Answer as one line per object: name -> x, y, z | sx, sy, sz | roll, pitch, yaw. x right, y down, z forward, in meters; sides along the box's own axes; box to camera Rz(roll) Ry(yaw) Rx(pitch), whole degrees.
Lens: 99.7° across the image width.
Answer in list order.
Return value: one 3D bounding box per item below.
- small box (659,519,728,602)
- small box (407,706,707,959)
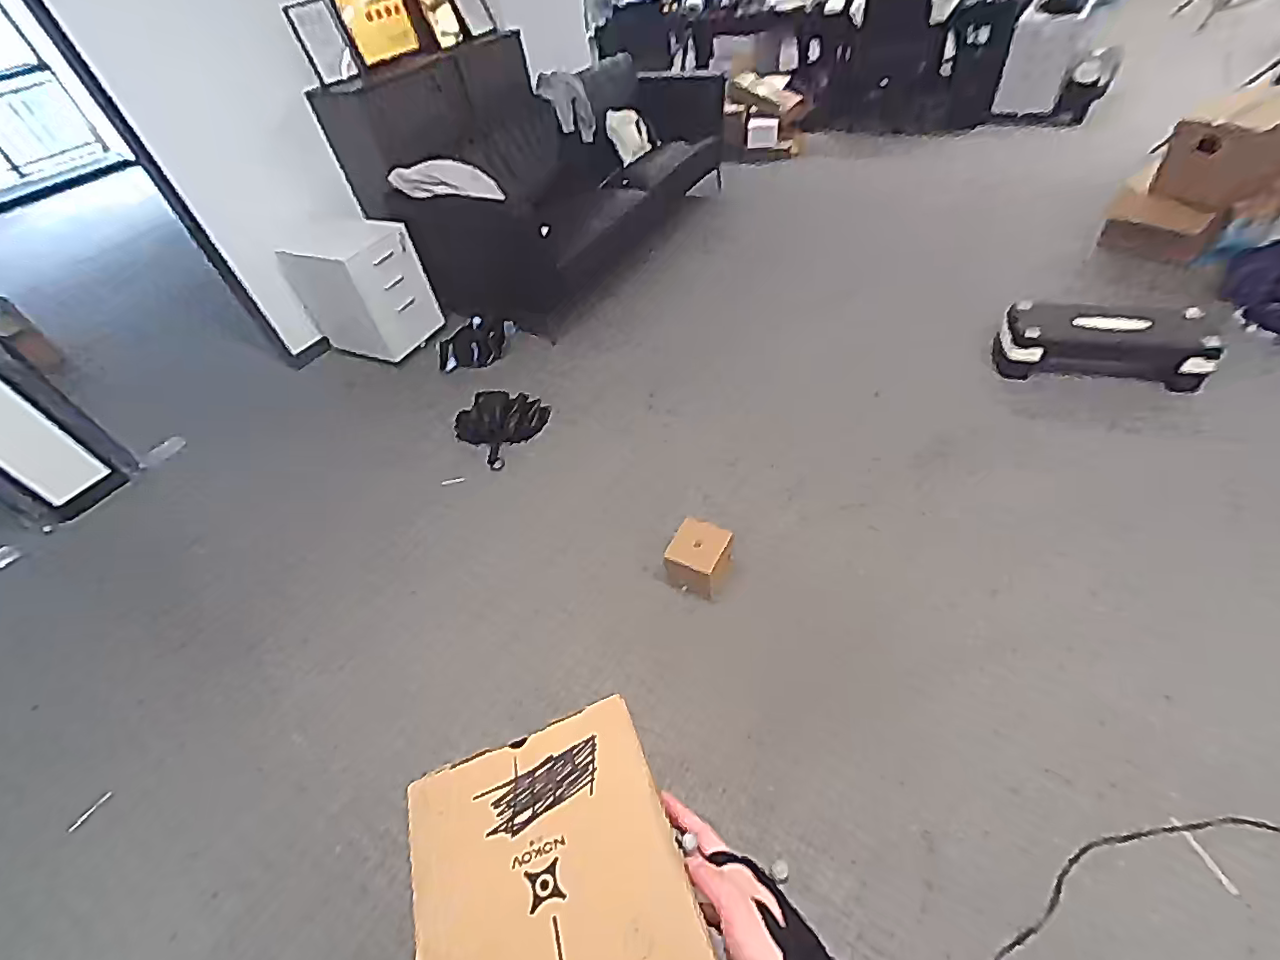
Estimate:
small box -> 0.177, 0.261, 1.753 | 0.168, 0.176, 0.179 | 18, 54, 25
small box -> -0.055, 0.308, 0.401 | 0.168, 0.176, 0.179 | -20, 47, -9
